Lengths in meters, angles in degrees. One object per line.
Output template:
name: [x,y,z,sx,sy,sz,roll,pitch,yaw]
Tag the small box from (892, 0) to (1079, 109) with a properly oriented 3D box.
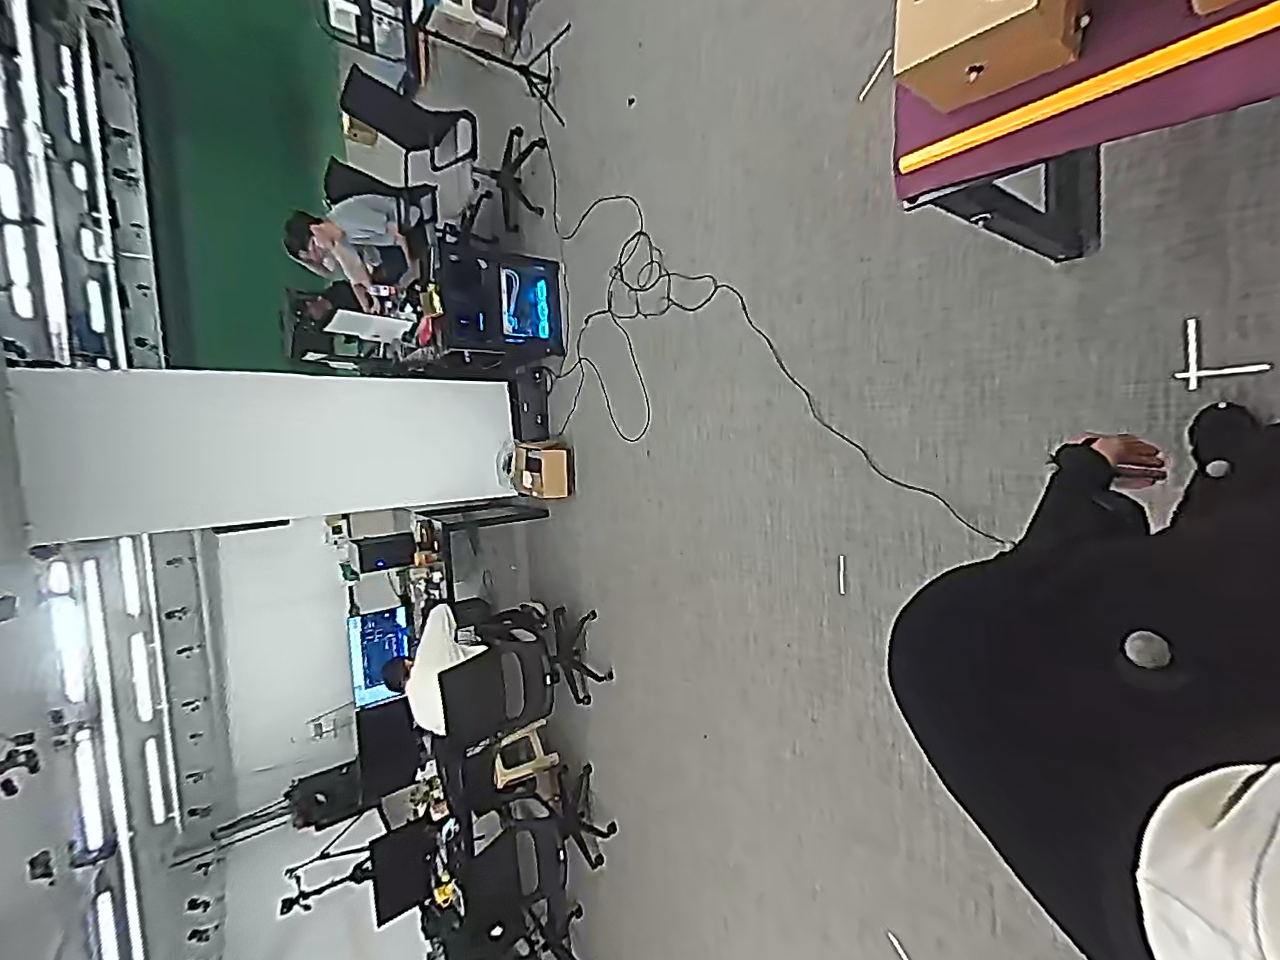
small box: [0.470,-0.644,0.728,0.179,0.176,0.168,11,104,52]
